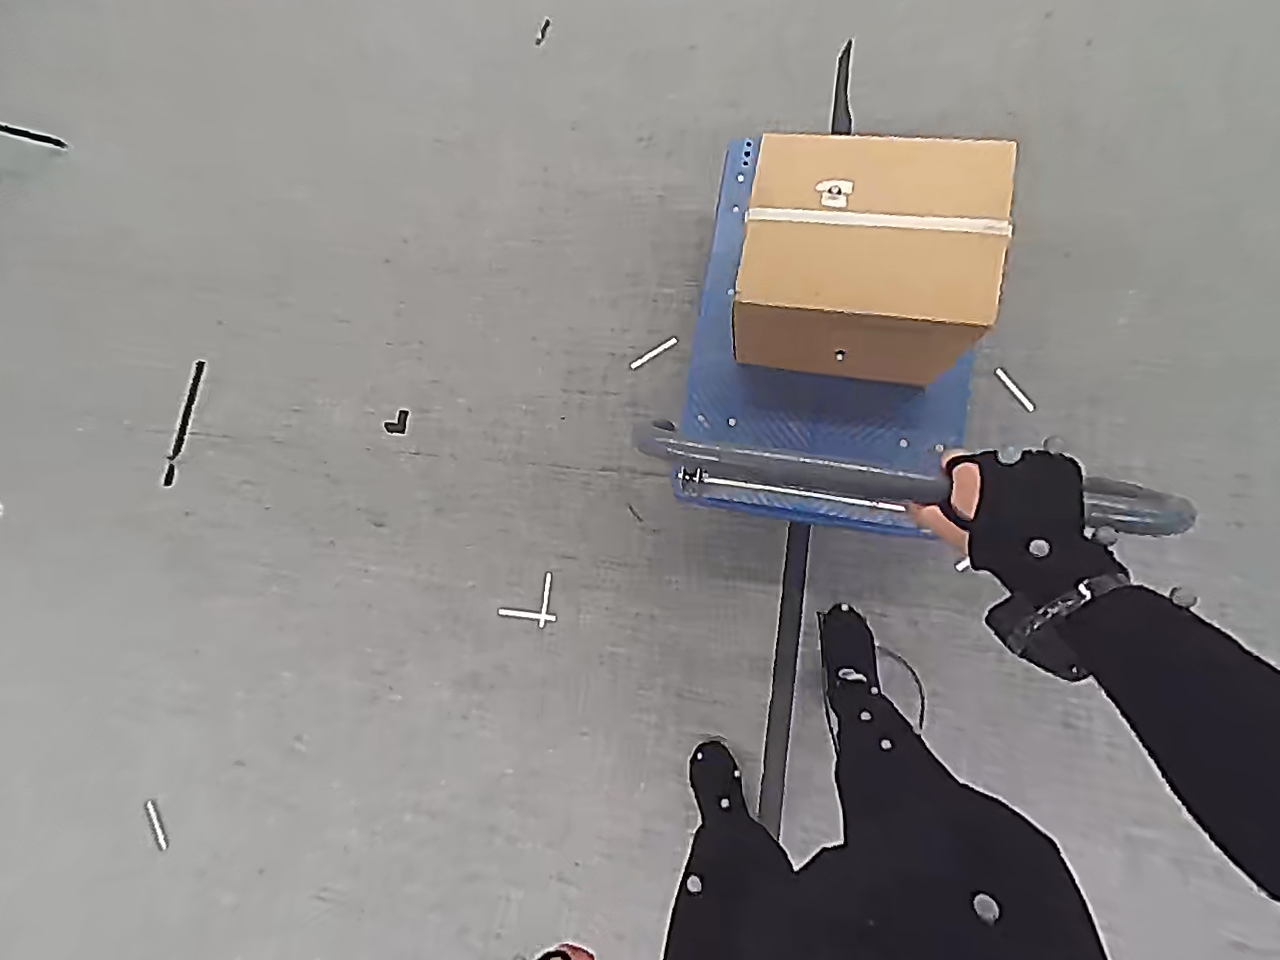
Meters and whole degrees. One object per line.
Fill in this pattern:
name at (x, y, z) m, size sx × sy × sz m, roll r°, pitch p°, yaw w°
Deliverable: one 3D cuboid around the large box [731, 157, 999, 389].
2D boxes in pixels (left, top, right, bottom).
large box at (0.405, -0.384, 1.057) m, size 0.408 × 0.320 × 0.320 m, roll 9°, pitch 83°, yaw 13°
